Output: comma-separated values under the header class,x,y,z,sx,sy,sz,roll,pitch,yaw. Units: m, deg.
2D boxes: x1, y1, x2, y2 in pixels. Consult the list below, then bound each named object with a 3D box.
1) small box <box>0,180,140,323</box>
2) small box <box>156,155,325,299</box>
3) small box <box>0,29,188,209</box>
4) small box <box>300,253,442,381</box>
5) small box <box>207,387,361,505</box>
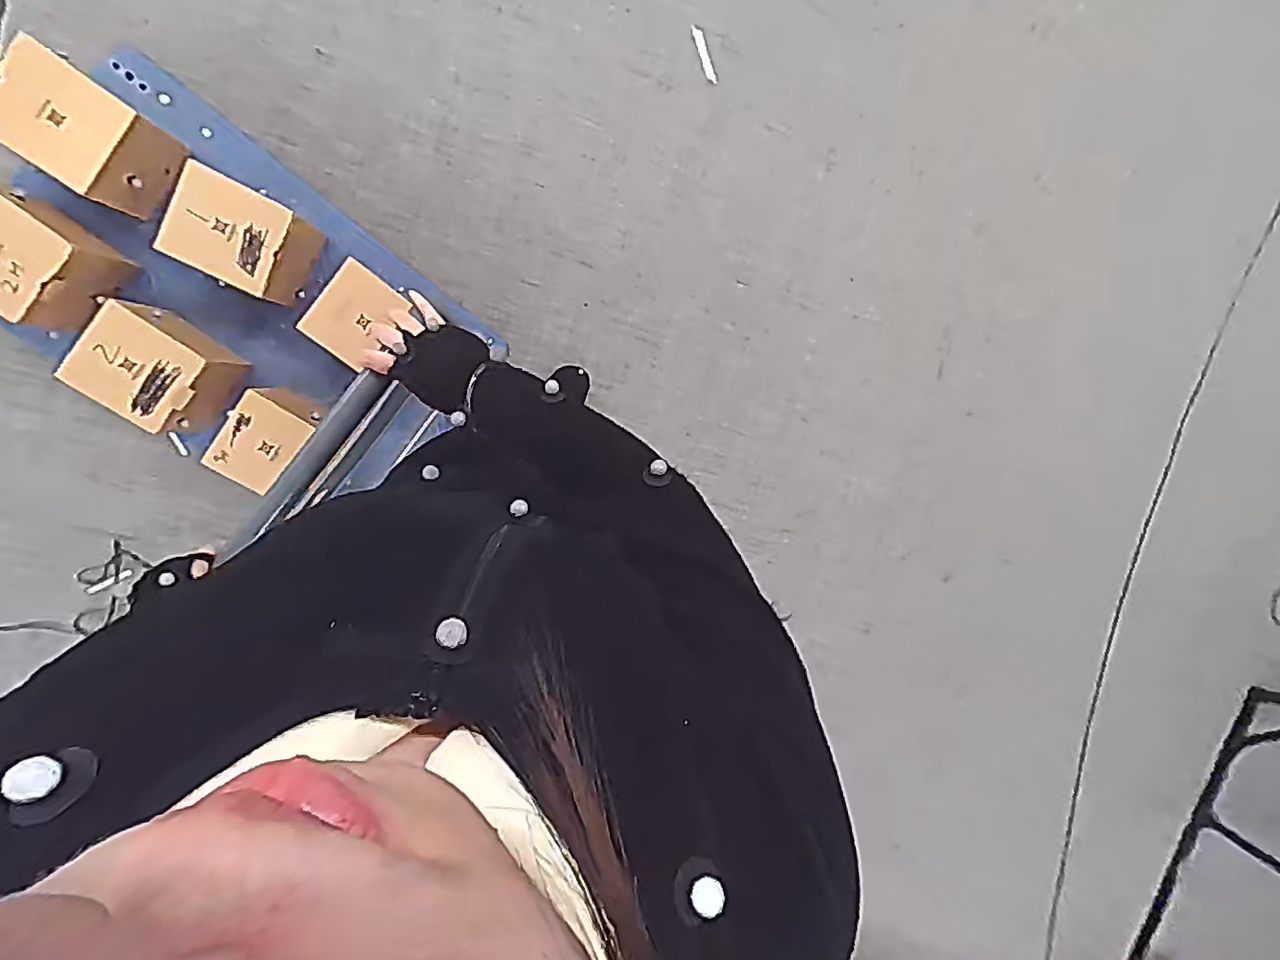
class,x,y,z,sx,sy,sz,roll,pitch,yaw
small box,-1.058,-0.392,0.946,0.179,0.176,0.168,39,91,-17
small box,-0.727,-0.454,1.008,0.179,0.176,0.168,25,95,-15
small box,-0.946,-0.598,0.931,0.179,0.176,0.168,34,93,-16
small box,-0.522,-0.317,1.082,0.179,0.176,0.168,38,91,-16
small box,-0.699,-0.077,1.088,0.179,0.176,0.168,33,91,-17
